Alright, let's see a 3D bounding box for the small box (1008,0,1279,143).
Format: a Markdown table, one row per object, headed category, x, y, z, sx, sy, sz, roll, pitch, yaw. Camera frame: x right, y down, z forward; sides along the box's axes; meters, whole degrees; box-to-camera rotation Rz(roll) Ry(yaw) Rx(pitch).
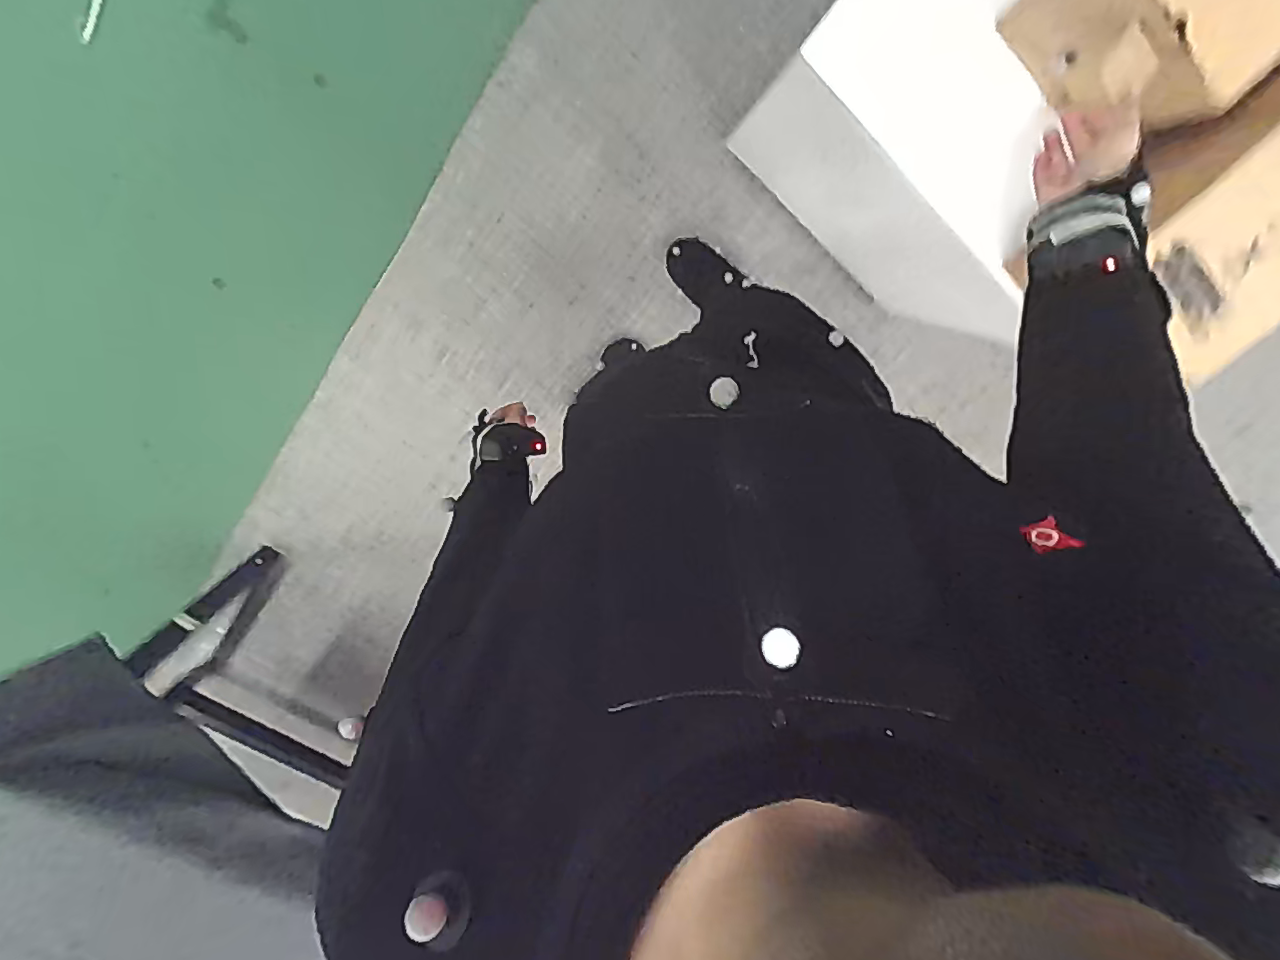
| category | x | y | z | sx | sy | sz | roll | pitch | yaw |
| --- | --- | --- | --- | --- | --- | --- | --- | --- | --- |
| small box | 0.492 | -0.448 | 0.487 | 0.168 | 0.176 | 0.179 | 39 | 108 | -14 |
